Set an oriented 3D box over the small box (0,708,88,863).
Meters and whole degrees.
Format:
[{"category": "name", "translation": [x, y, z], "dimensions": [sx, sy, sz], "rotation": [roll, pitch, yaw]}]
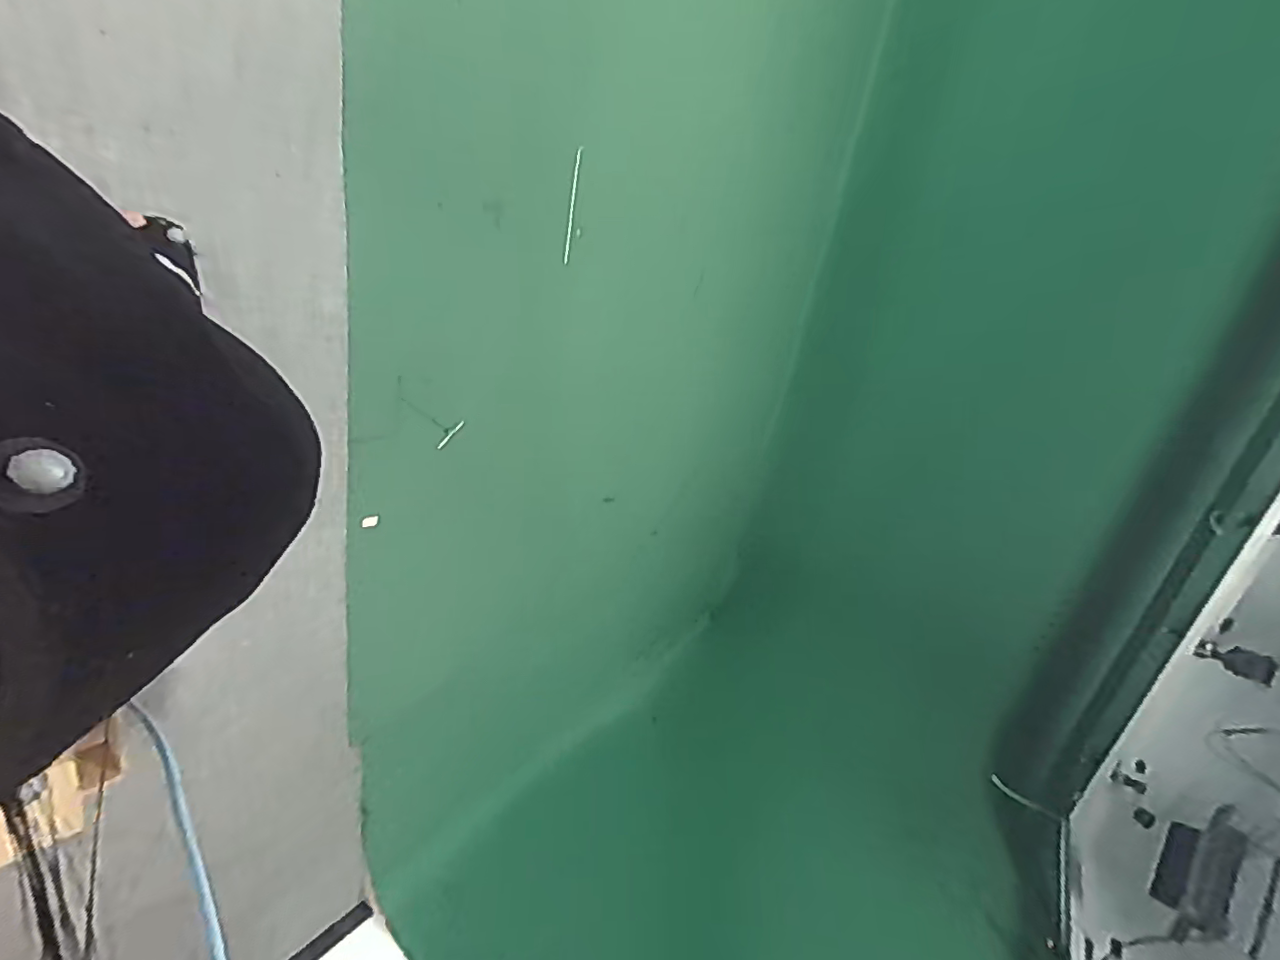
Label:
[{"category": "small box", "translation": [-1.150, 0.562, 0.992], "dimensions": [0.168, 0.176, 0.179], "rotation": [-12, 119, -53]}]
